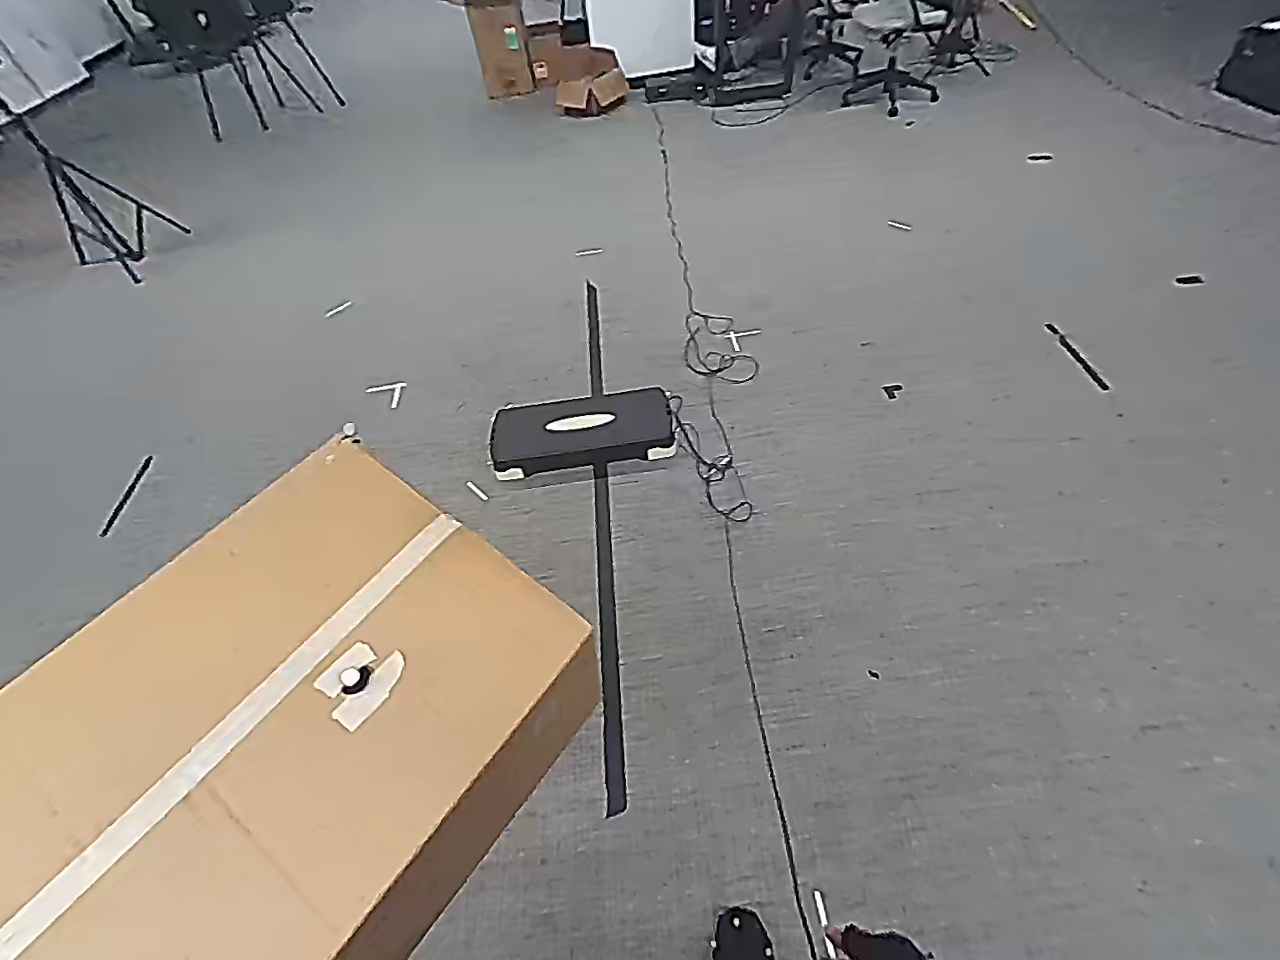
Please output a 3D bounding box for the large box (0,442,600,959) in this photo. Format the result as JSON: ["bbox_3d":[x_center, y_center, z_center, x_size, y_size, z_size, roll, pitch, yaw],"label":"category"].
[{"bbox_3d":[-0.281,0.250,0.534,0.320,0.320,0.408,33,62,17],"label":"large box"}]
